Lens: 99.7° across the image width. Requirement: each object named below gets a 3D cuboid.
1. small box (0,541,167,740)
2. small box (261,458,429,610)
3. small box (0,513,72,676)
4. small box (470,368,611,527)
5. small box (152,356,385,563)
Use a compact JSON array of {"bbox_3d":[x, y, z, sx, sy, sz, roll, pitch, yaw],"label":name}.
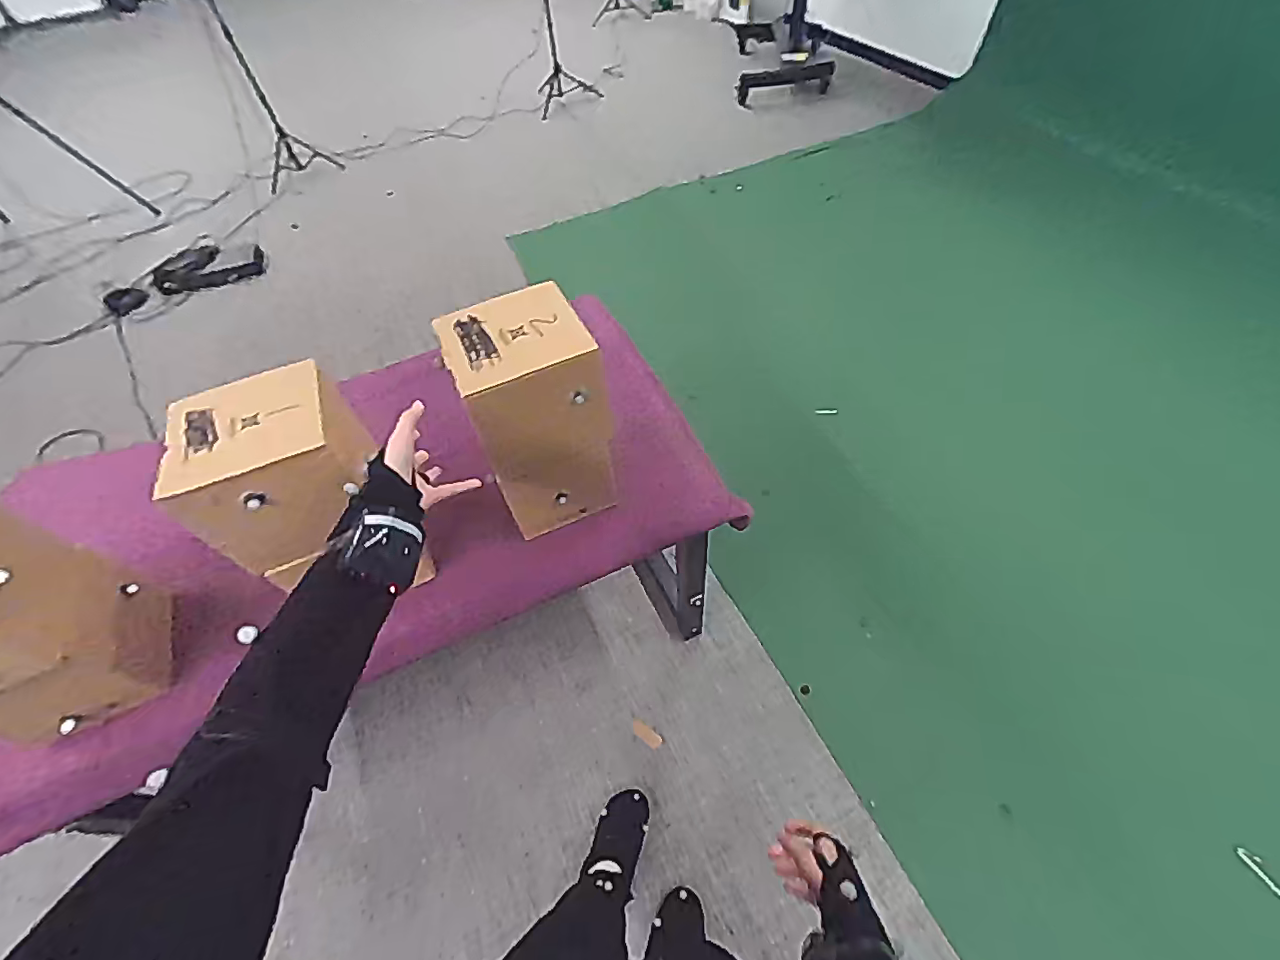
[{"bbox_3d":[-0.792,0.220,0.735,0.168,0.176,0.179,-24,57,-13],"label":"small box"},{"bbox_3d":[-0.441,0.074,0.817,0.168,0.176,0.179,-25,55,-13],"label":"small box"},{"bbox_3d":[-0.796,0.132,0.597,0.168,0.176,0.179,-23,56,-12],"label":"small box"},{"bbox_3d":[-0.155,-0.044,0.880,0.168,0.176,0.179,-21,54,-11],"label":"small box"},{"bbox_3d":[-0.452,-0.021,0.684,0.179,0.176,0.168,-21,54,-12],"label":"small box"}]
